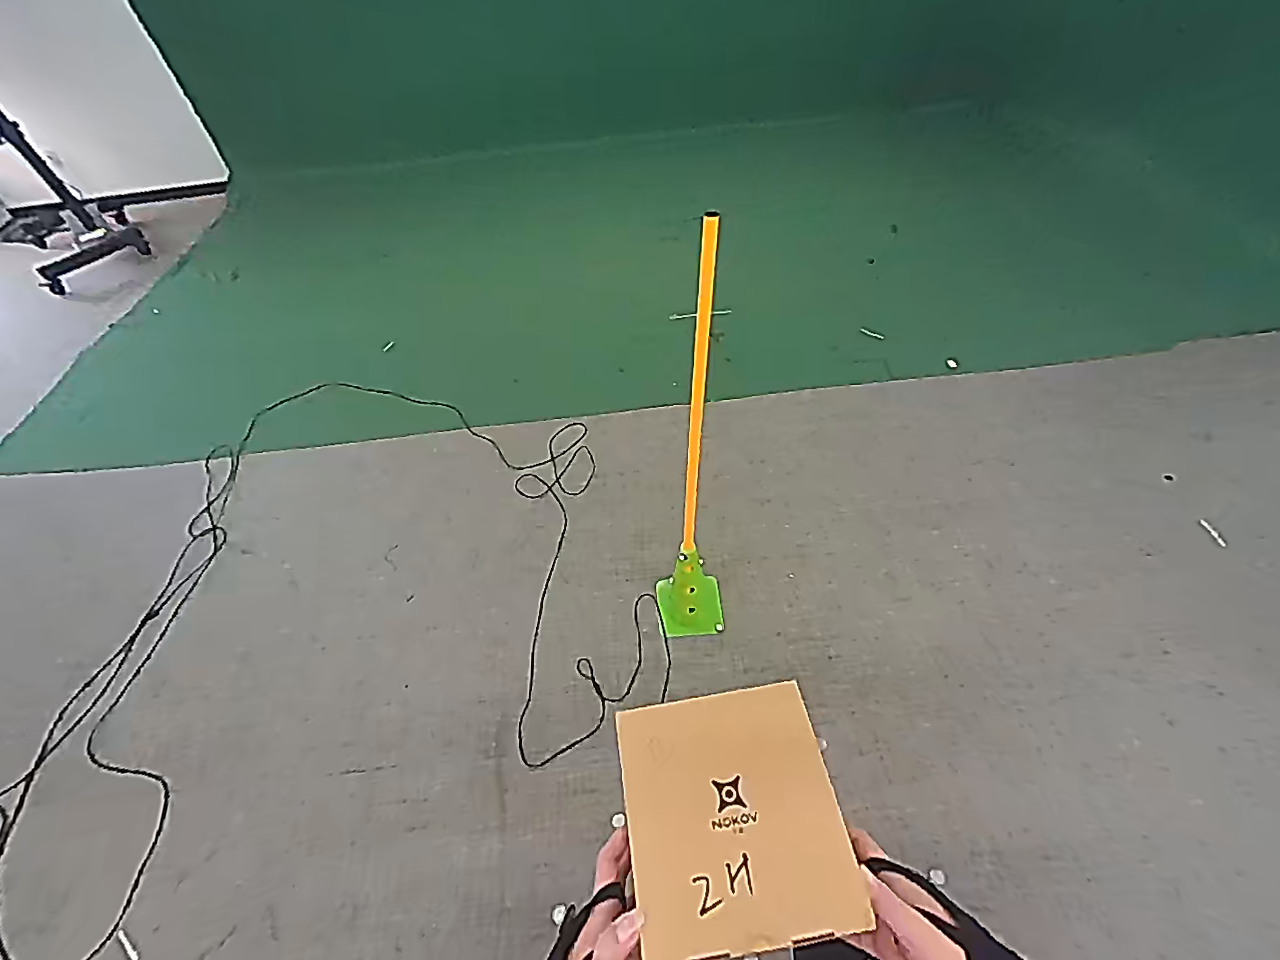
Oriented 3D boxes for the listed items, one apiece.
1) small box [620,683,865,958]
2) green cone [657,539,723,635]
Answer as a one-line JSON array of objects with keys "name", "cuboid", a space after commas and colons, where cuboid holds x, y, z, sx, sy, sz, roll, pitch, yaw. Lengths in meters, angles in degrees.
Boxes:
[{"name": "small box", "cuboid": [0.076, 0.311, 0.497, 0.168, 0.176, 0.179, -8, 51, -1]}, {"name": "green cone", "cuboid": [0.141, 0.284, 1.599, 0.202, 0.368, 0.200, -5, 50, 3]}]
